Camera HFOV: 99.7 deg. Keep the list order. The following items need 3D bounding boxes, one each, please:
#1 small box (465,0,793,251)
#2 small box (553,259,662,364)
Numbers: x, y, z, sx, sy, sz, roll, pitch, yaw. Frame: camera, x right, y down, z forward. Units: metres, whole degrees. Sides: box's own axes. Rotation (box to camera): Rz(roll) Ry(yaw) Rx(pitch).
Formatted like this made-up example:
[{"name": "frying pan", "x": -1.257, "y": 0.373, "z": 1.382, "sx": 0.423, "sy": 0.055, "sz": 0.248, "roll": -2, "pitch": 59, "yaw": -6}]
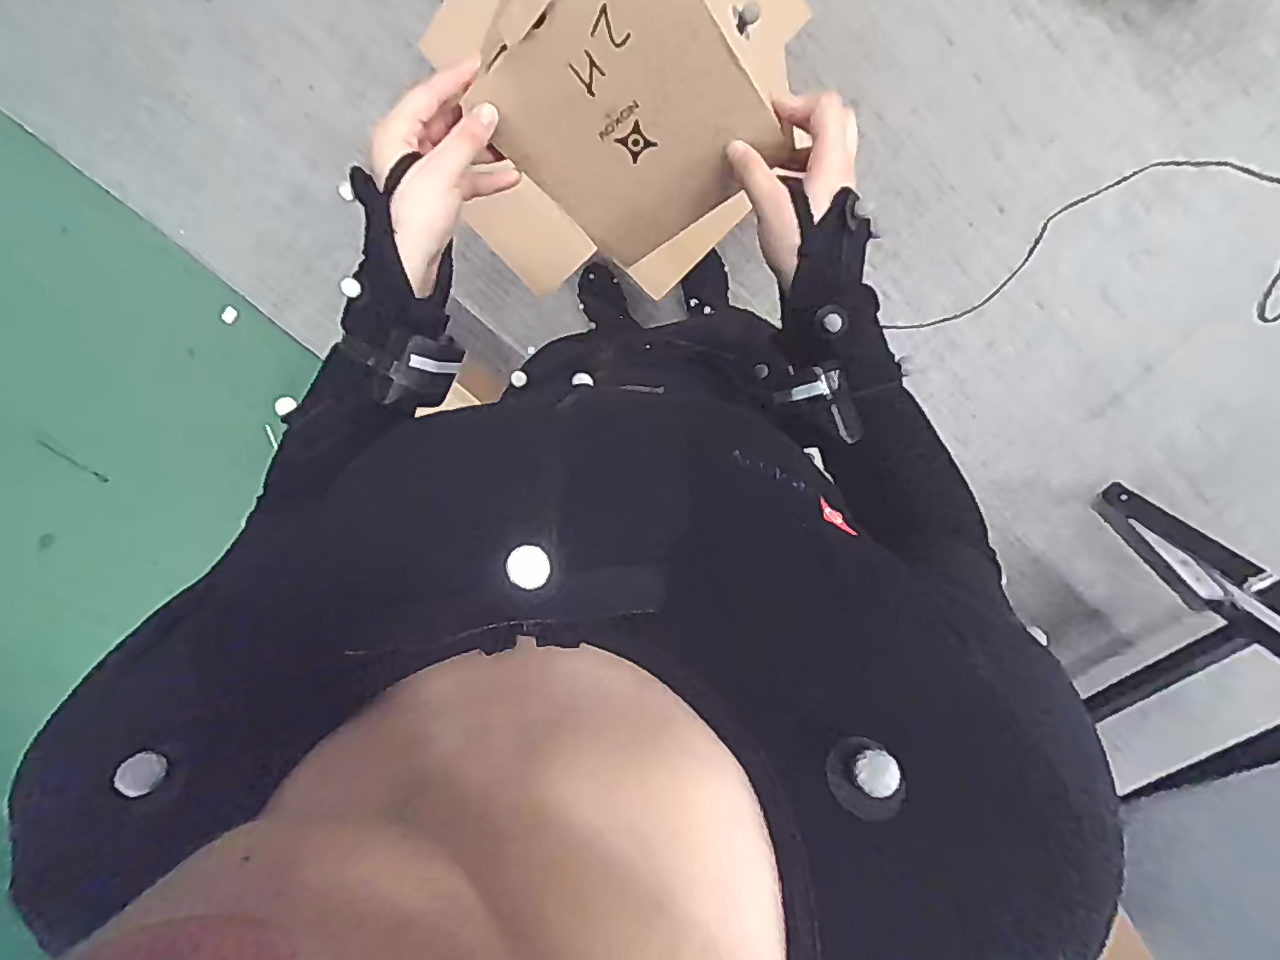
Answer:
[{"name": "small box", "x": 0.001, "y": -0.327, "z": 0.415, "sx": 0.168, "sy": 0.176, "sz": 0.179, "roll": -20, "pitch": 143, "yaw": 36}, {"name": "small box", "x": -0.072, "y": -0.396, "z": 1.285, "sx": 0.176, "sy": 0.168, "sz": 0.179, "roll": 22, "pitch": 92, "yaw": -35}]
